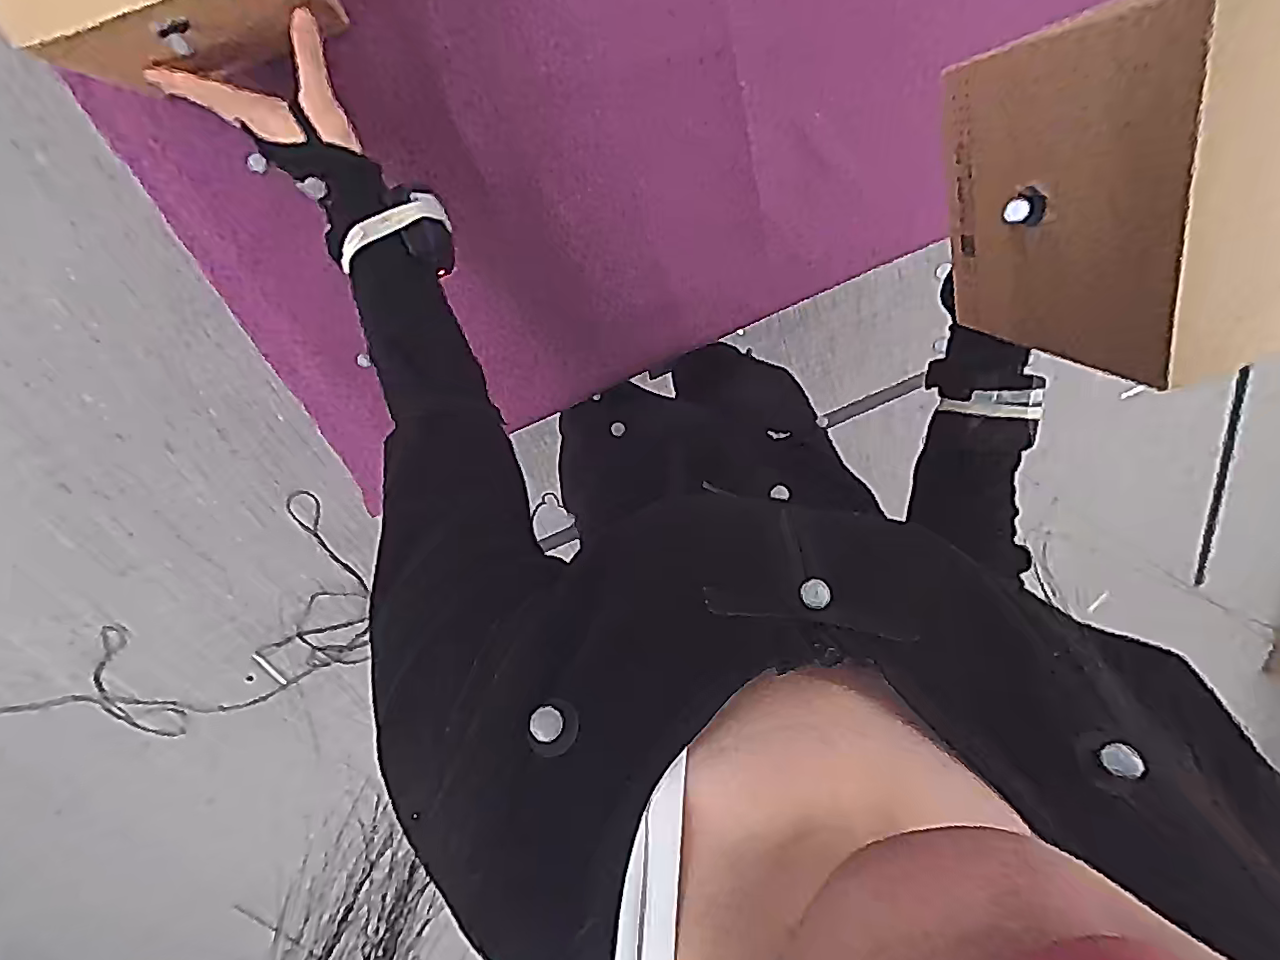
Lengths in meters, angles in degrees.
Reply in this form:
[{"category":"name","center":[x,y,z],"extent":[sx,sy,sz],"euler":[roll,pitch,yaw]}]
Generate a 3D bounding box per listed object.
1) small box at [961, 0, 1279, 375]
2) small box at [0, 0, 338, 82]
[{"category":"small box","center":[0.302,-0.182,0.294],"extent":[0.179,0.176,0.168],"euler":[-21,119,4]},{"category":"small box","center":[-0.338,-0.394,0.355],"extent":[0.179,0.176,0.168],"euler":[-23,121,-3]}]
